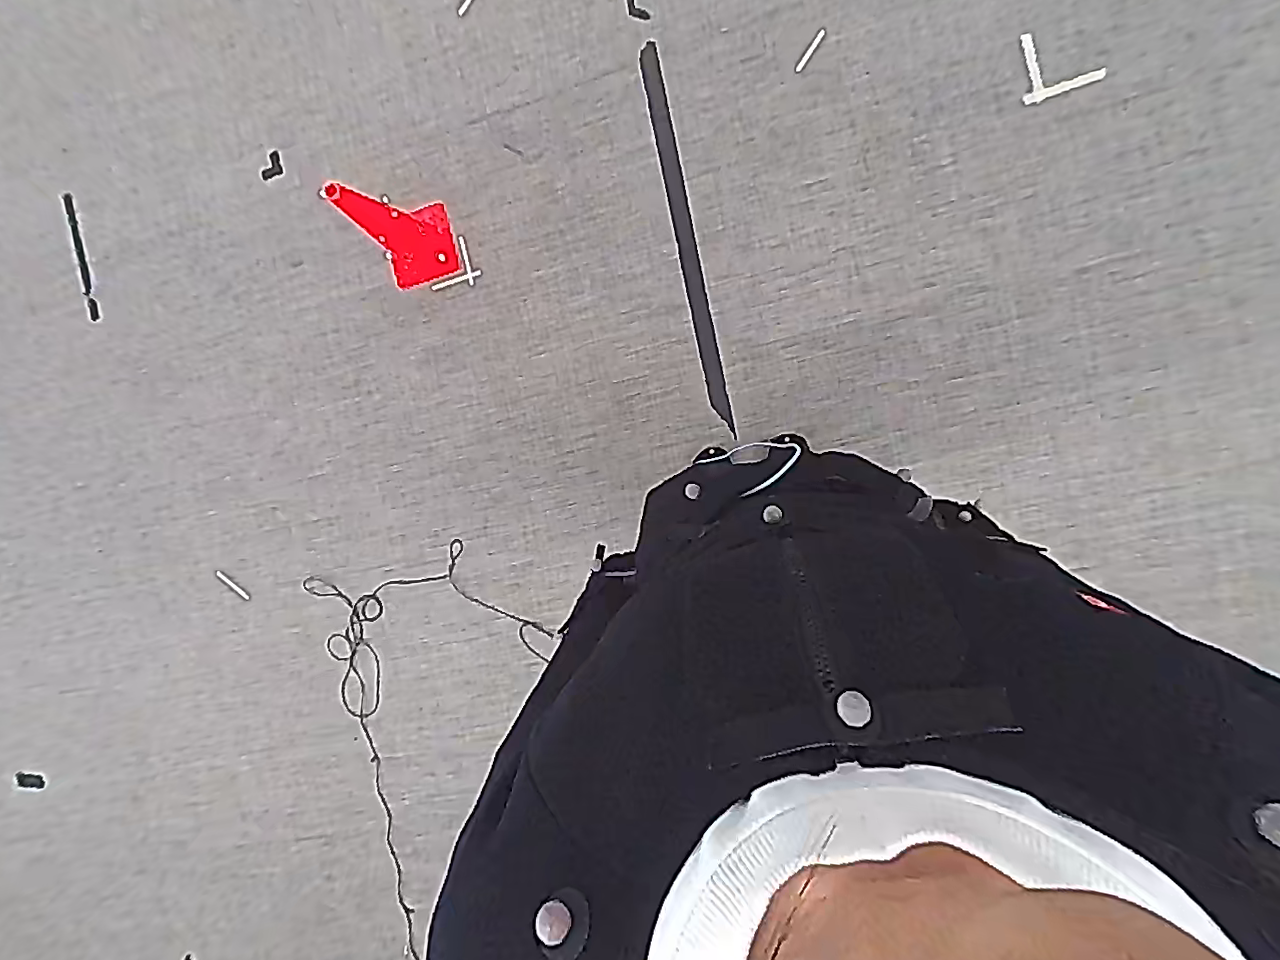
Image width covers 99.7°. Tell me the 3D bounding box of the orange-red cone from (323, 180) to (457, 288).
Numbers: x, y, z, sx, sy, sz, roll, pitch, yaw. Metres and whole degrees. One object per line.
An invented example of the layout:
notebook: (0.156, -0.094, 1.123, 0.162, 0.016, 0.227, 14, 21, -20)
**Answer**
orange-red cone: (-0.643, -0.642, 1.341, 0.198, 0.360, 0.199, -13, 91, 9)
